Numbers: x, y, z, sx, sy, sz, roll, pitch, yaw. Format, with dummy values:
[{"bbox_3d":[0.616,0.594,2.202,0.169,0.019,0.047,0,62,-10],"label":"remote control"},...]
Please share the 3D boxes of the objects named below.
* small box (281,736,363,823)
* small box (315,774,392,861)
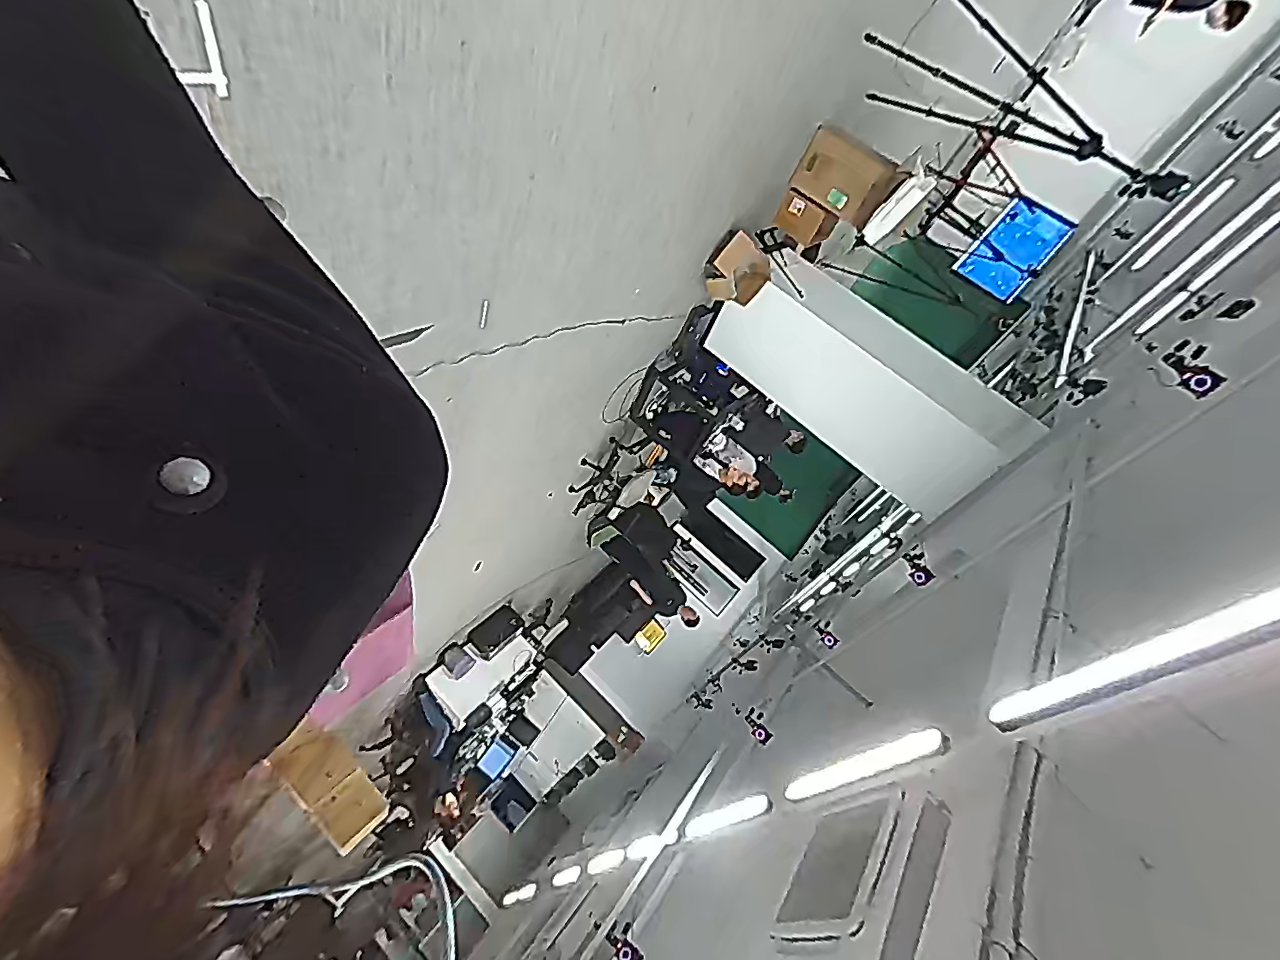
[{"bbox_3d":[-1.066,1.004,1.820,0.179,0.176,0.168,-36,162,-44],"label":"small box"},{"bbox_3d":[-0.948,1.112,1.790,0.168,0.176,0.179,-37,164,-44],"label":"small box"}]
